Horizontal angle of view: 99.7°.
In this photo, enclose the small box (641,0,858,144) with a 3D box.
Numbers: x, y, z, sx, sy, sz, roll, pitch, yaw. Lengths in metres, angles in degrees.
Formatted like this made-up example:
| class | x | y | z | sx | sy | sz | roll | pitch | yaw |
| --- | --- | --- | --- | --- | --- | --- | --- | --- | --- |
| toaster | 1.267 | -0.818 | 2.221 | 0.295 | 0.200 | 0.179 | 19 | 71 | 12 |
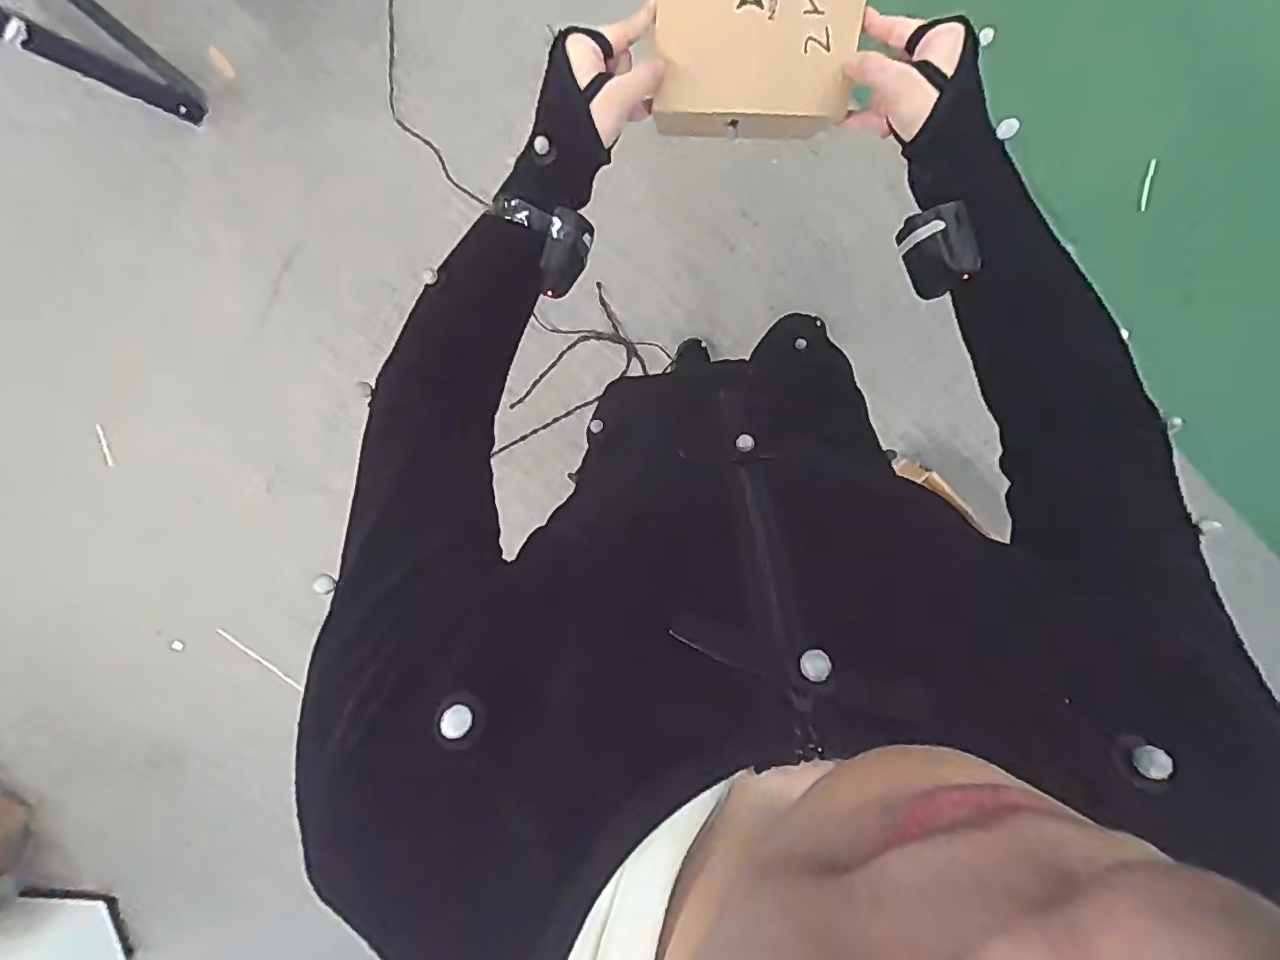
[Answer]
| class | x | y | z | sx | sy | sz | roll | pitch | yaw |
| --- | --- | --- | --- | --- | --- | --- | --- | --- | --- |
| small box | 0.096 | -0.427 | 0.514 | 0.179 | 0.176 | 0.168 | 3 | 116 | 2 |
